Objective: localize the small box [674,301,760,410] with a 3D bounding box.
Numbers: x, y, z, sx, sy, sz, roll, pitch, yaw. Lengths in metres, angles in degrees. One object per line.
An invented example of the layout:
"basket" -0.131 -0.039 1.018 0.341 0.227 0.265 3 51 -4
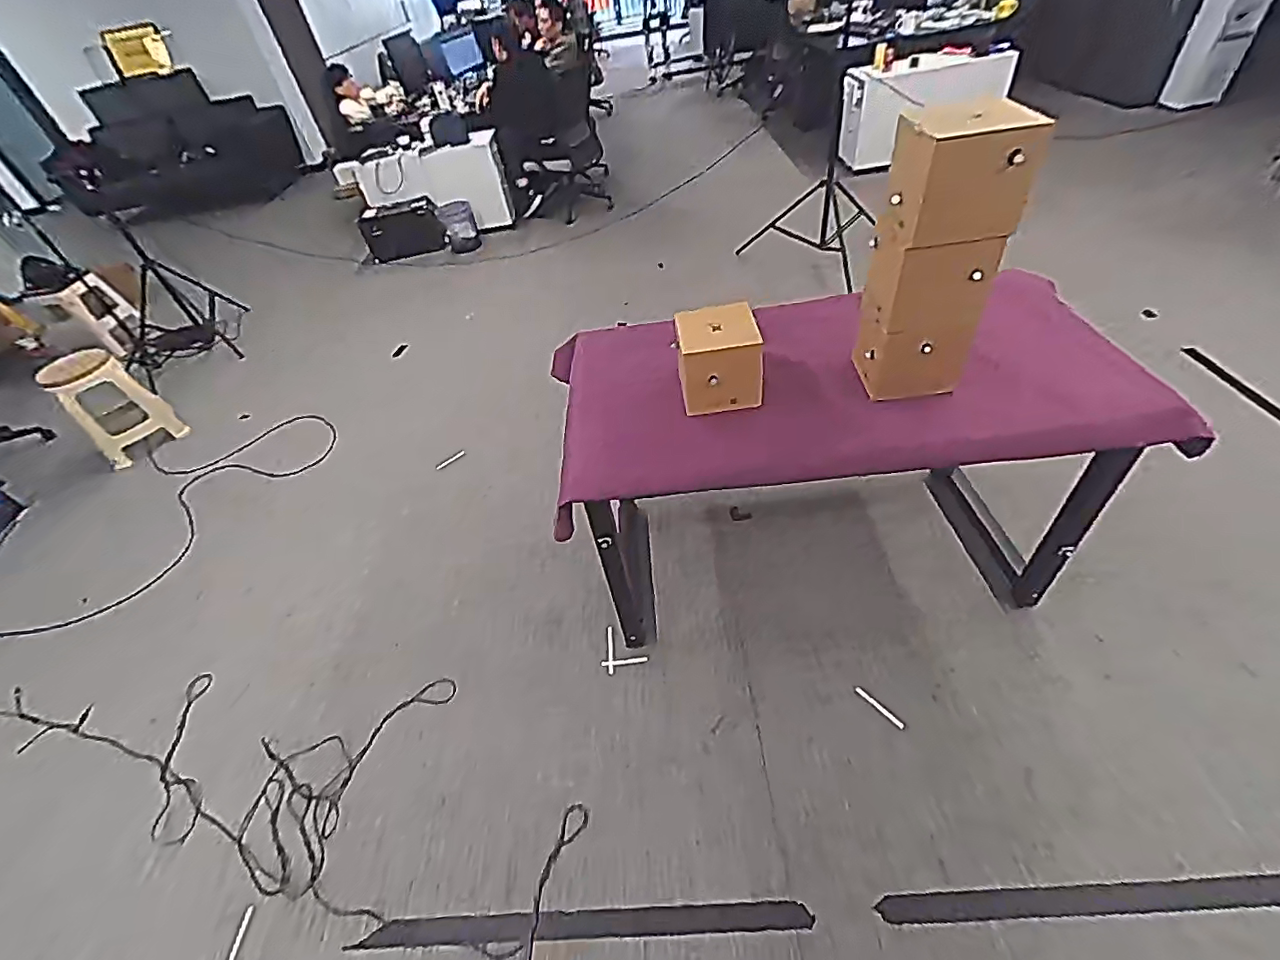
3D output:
"small box" 0.173 -0.270 1.206 0.168 0.176 0.179 -8 44 3

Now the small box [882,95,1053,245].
"small box" 0.537 -0.522 0.916 0.179 0.176 0.168 -6 45 5

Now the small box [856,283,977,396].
"small box" 0.572 -0.294 1.152 0.179 0.176 0.168 -5 46 5
